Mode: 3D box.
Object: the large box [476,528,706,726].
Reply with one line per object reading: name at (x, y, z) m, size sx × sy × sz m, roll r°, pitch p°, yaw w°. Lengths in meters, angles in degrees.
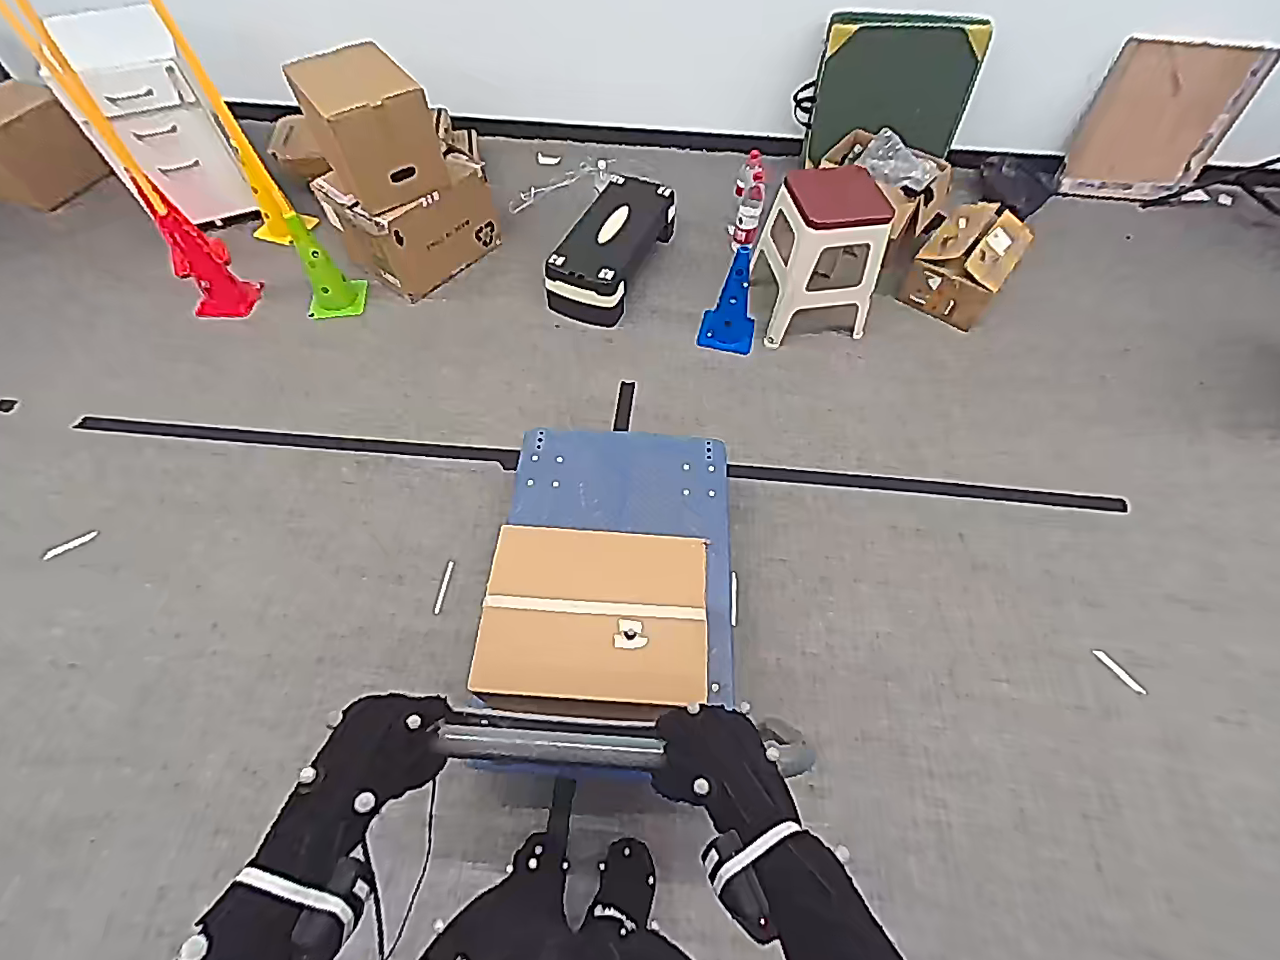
large box at (-0.086, 0.317, 1.127) m, size 0.408 × 0.320 × 0.320 m, roll 4°, pitch 58°, yaw -1°
